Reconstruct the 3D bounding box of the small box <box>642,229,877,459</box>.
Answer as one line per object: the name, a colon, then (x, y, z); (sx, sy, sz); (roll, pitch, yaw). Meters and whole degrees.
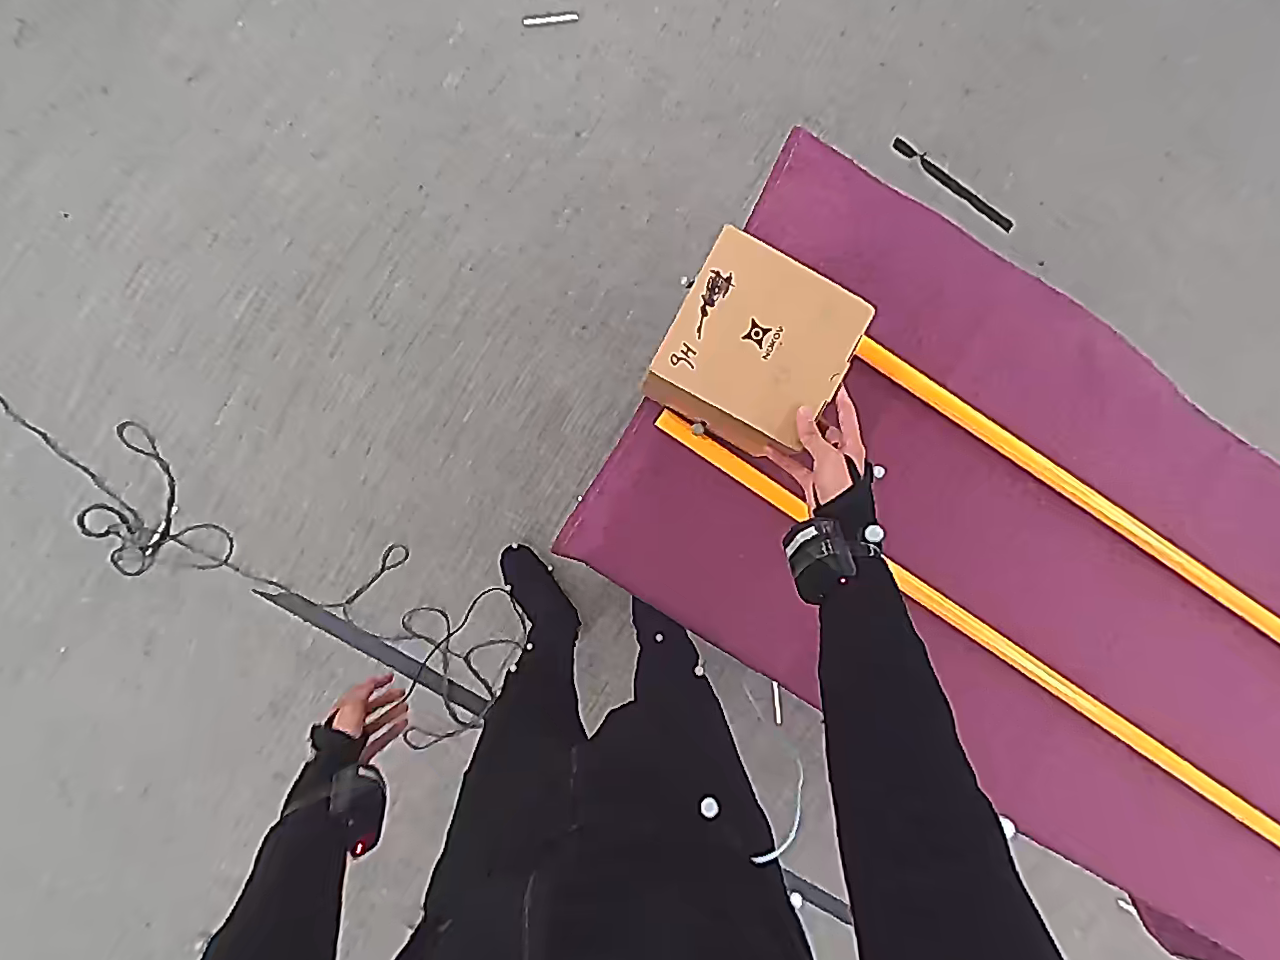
small box: (0.117, -0.136, 0.607); (0.179, 0.176, 0.168); (29, 90, -5)
